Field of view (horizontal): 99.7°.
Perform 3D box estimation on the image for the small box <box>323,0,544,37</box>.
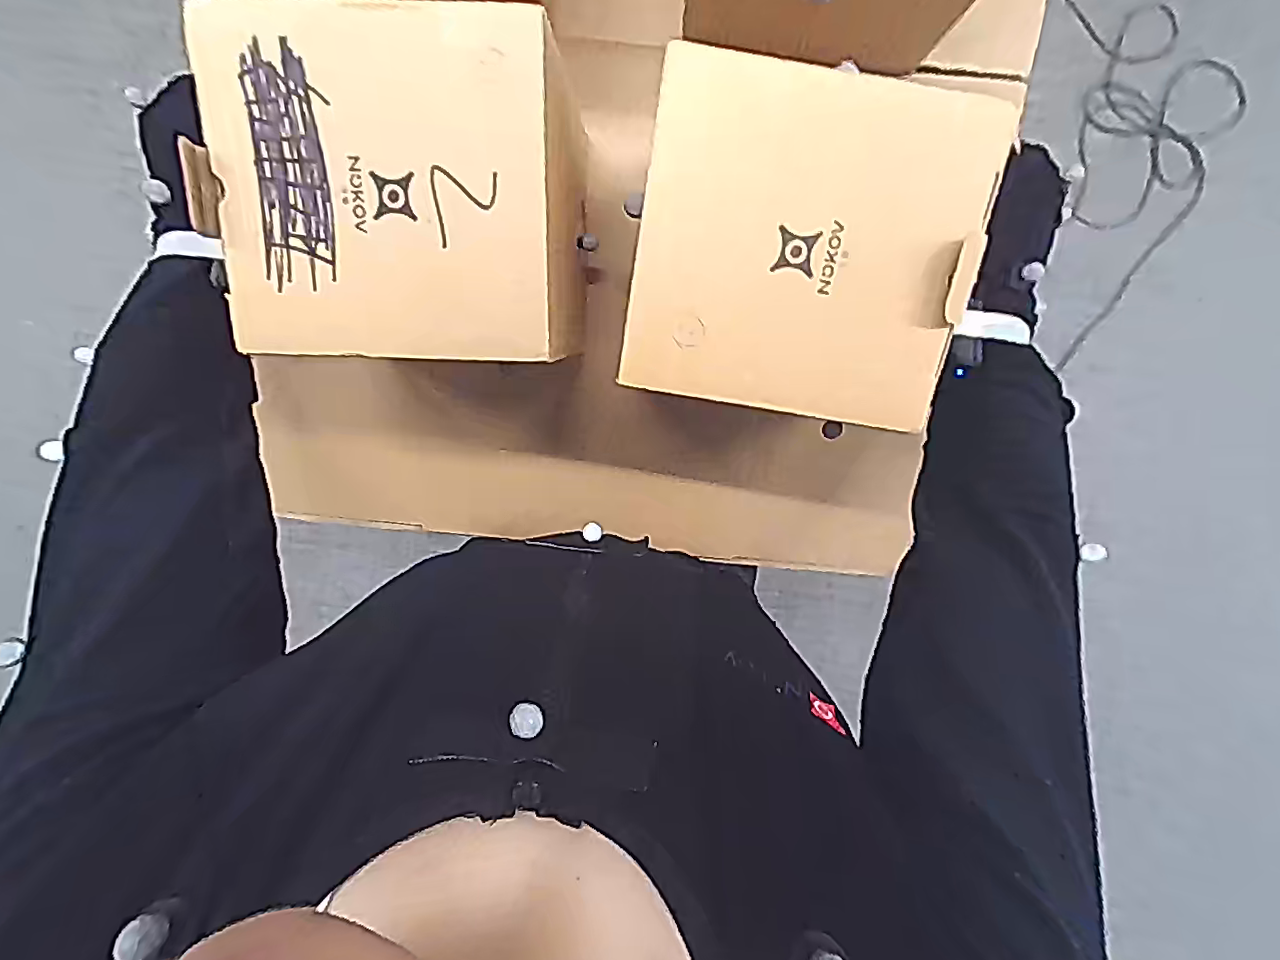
[{"bbox_3d":[-0.147,-0.397,0.306,0.168,0.176,0.179,4,101,0],"label":"small box"}]
